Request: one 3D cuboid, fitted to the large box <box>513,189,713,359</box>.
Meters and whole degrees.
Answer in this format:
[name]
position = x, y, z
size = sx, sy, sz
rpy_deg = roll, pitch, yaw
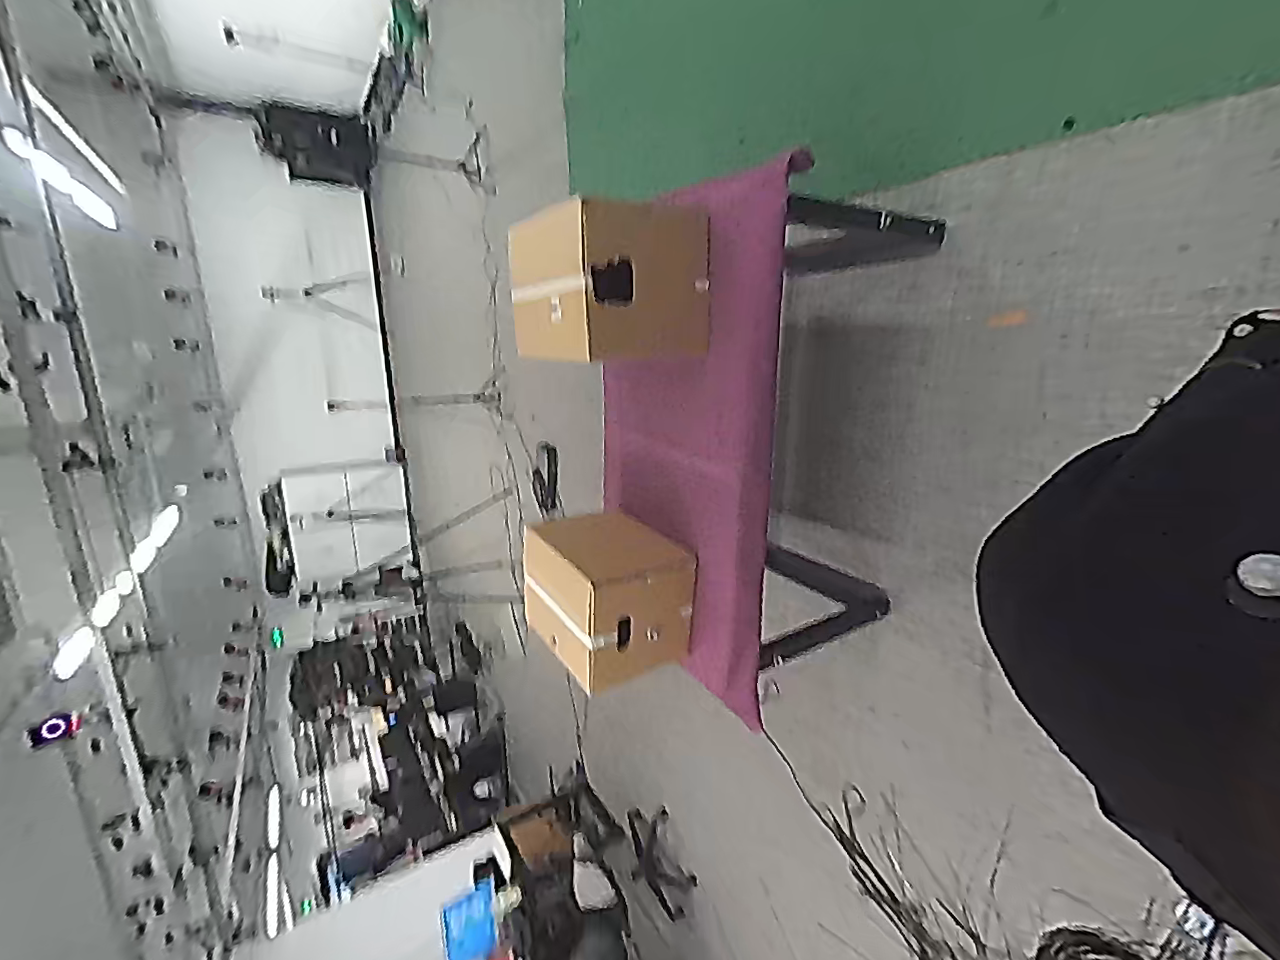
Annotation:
[large box]
position = -0.074, -0.456, 1.283
size = 0.408, 0.320, 0.320
rpy_deg = 19, 116, 54
